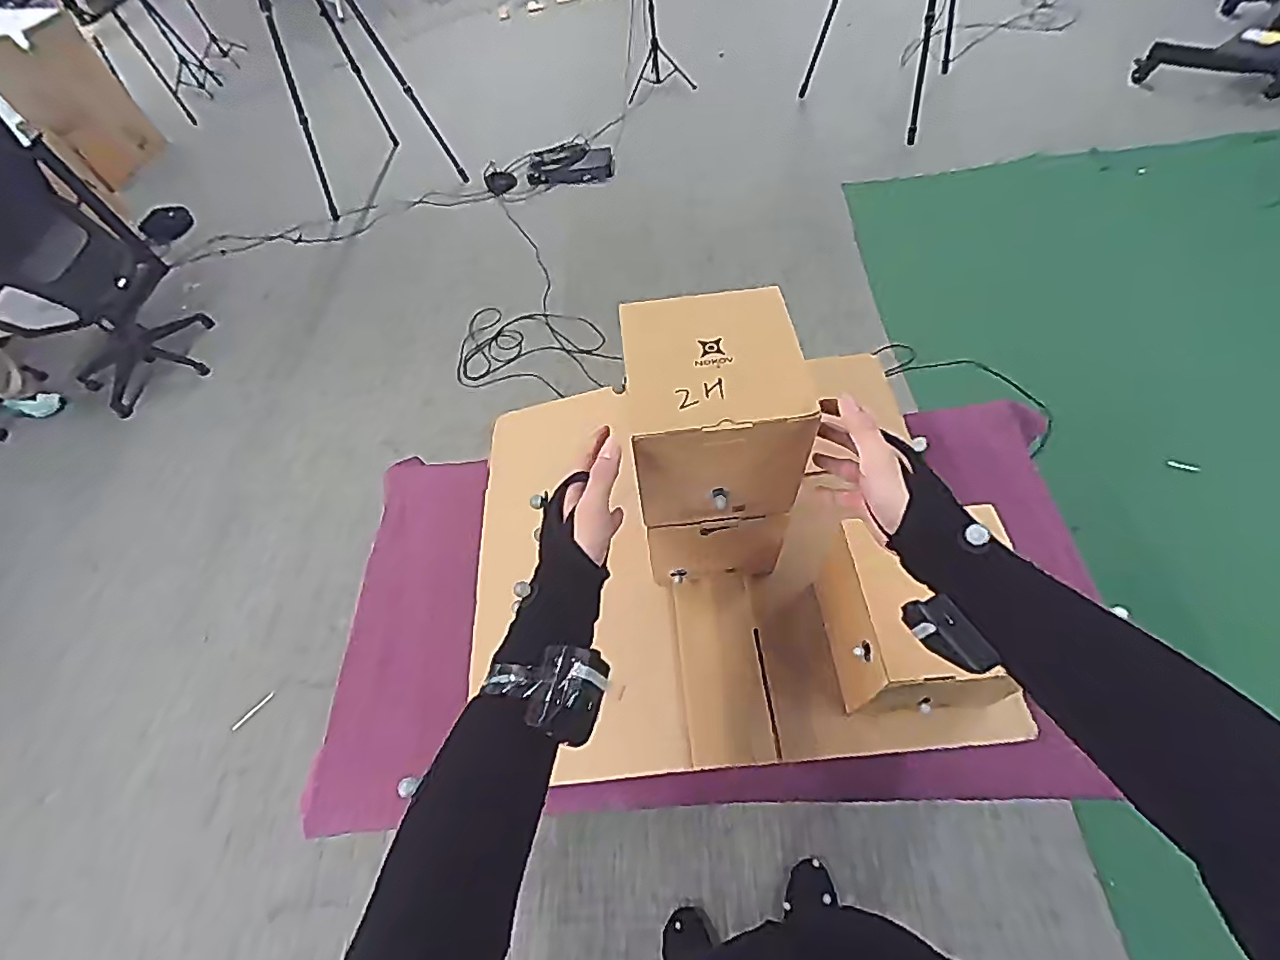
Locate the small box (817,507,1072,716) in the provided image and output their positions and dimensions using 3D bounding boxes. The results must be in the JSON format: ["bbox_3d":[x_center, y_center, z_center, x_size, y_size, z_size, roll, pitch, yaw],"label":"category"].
[{"bbox_3d":[0.310,0.151,0.602,0.168,0.176,0.179,-6,58,2],"label":"small box"}]

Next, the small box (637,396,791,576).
[{"bbox_3d":[0.088,0.017,0.707,0.168,0.176,0.179,-6,56,1],"label":"small box"}]
